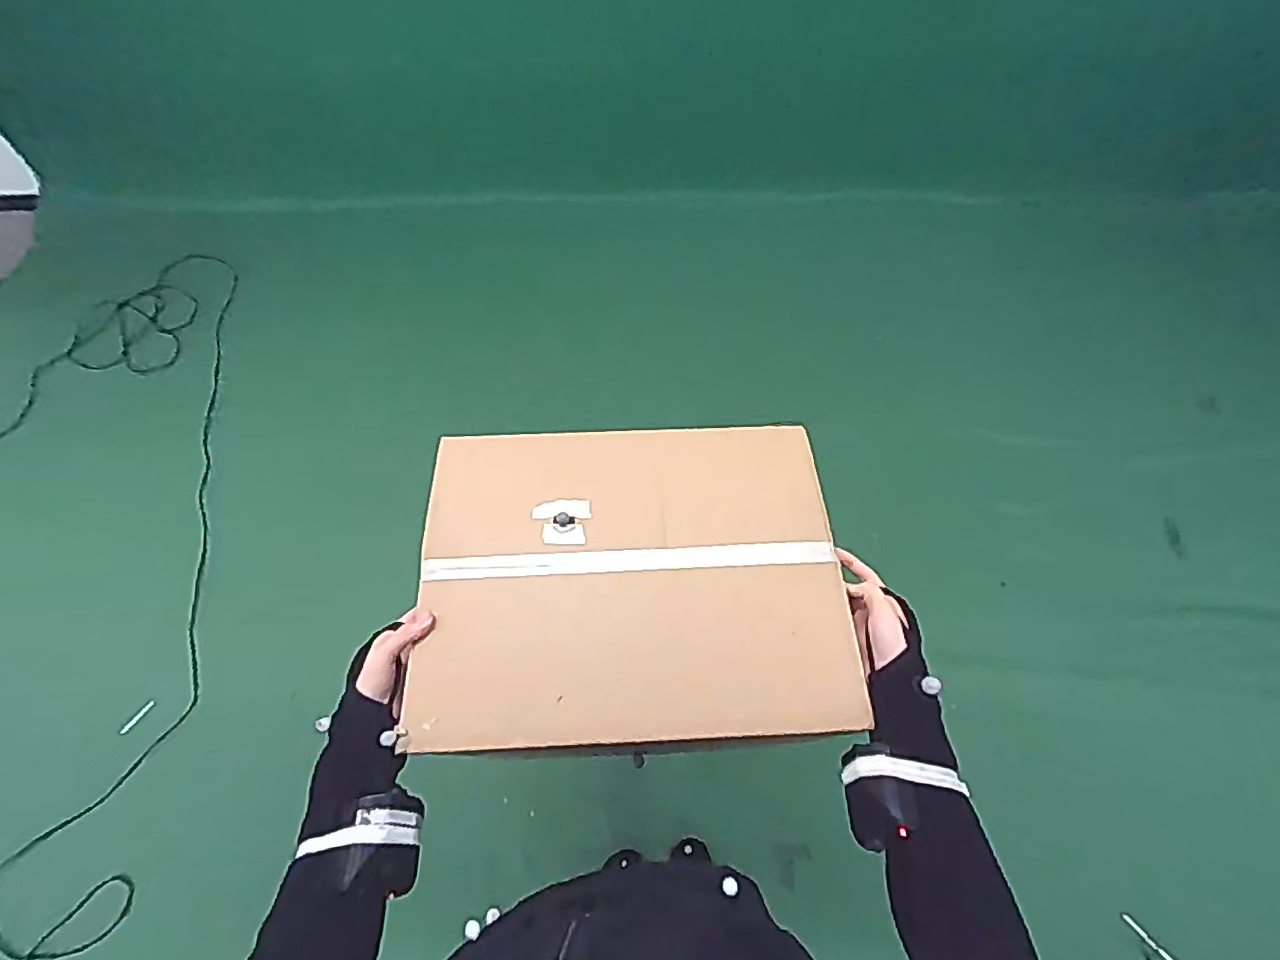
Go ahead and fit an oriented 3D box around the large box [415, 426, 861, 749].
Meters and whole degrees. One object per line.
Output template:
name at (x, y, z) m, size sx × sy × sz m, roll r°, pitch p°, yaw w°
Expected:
large box at (-0.005, 0.152, 0.676) m, size 0.408 × 0.320 × 0.320 m, roll -3°, pitch 61°, yaw -1°
